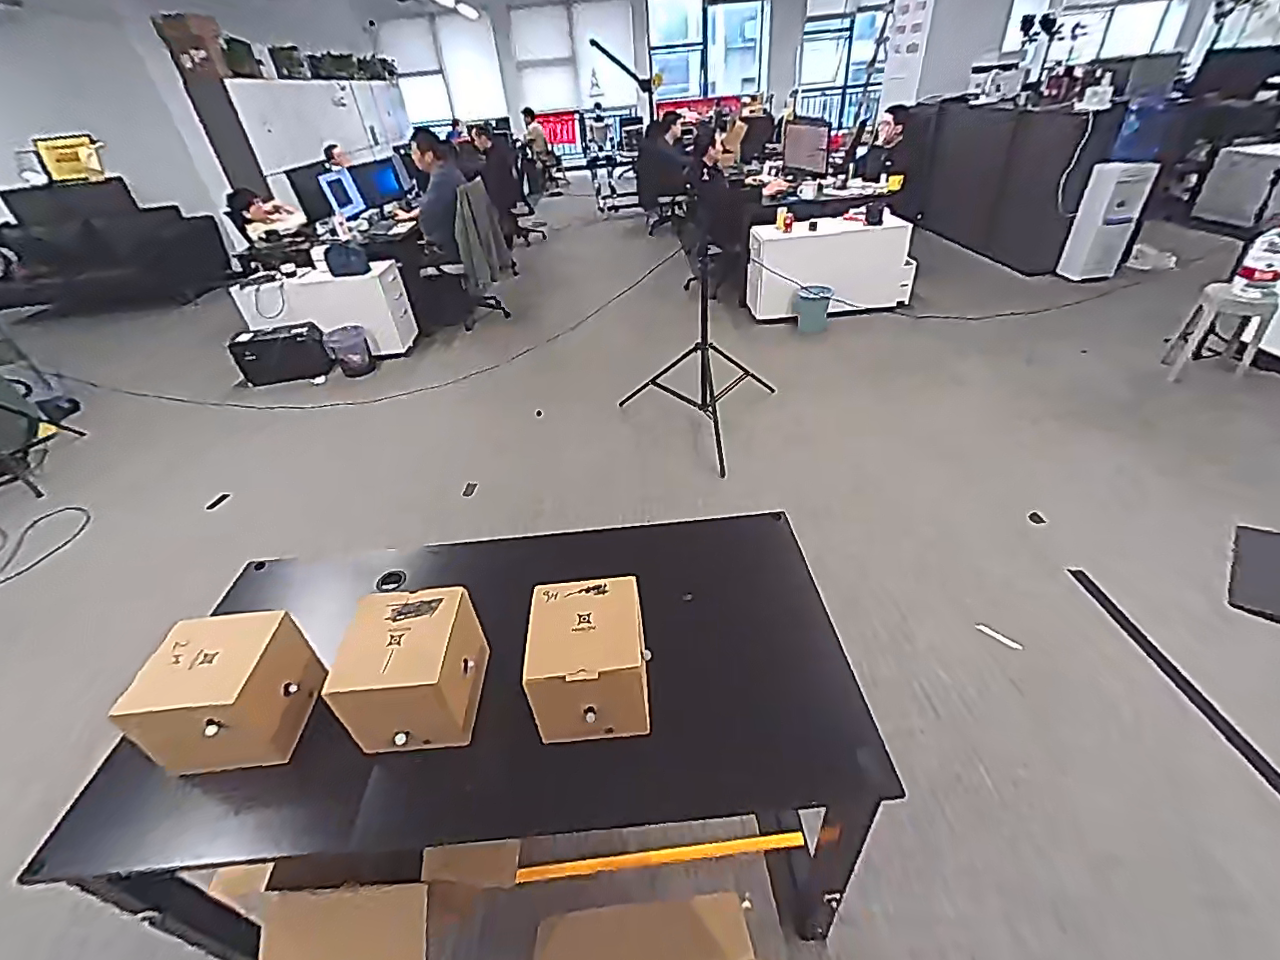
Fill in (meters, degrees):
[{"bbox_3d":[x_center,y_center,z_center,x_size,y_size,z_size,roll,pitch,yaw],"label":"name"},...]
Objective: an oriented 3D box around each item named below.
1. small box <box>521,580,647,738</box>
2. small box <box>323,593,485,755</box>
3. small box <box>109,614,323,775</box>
[{"bbox_3d":[-0.080,0.285,0.850,0.168,0.176,0.179,-6,36,0],"label":"small box"},{"bbox_3d":[-0.355,0.304,0.857,0.168,0.176,0.179,-5,36,1],"label":"small box"},{"bbox_3d":[-0.638,0.336,0.847,0.179,0.176,0.168,-6,36,-1],"label":"small box"}]
